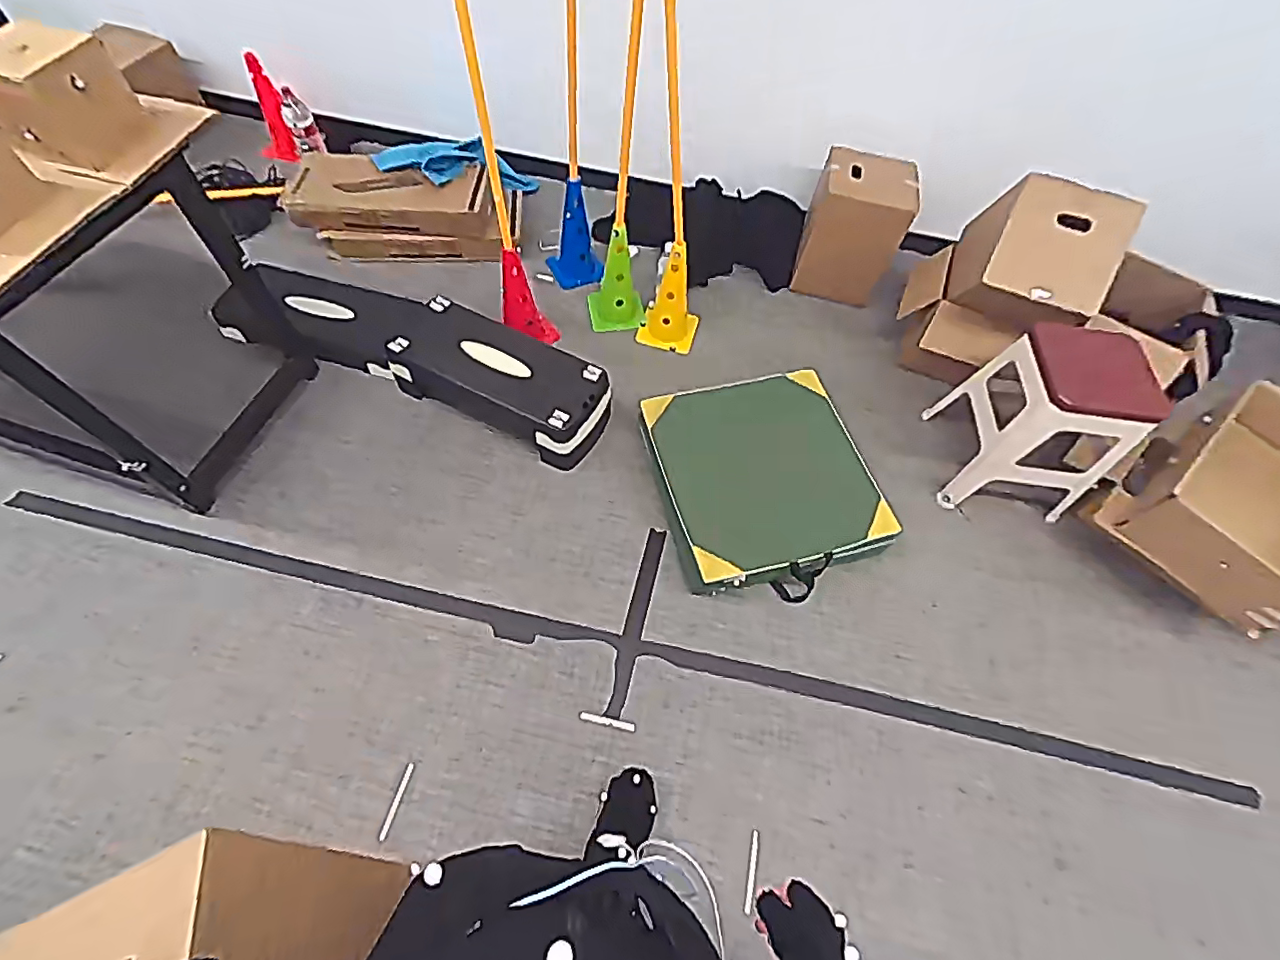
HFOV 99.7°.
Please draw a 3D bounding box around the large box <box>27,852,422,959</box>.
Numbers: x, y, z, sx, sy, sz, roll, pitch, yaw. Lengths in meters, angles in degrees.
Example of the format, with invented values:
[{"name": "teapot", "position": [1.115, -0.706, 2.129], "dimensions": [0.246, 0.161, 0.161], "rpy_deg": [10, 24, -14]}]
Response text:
[{"name": "large box", "position": [-0.501, 0.701, 0.634], "dimensions": [0.320, 0.408, 0.320], "rpy_deg": [-26, 47, -5]}]
